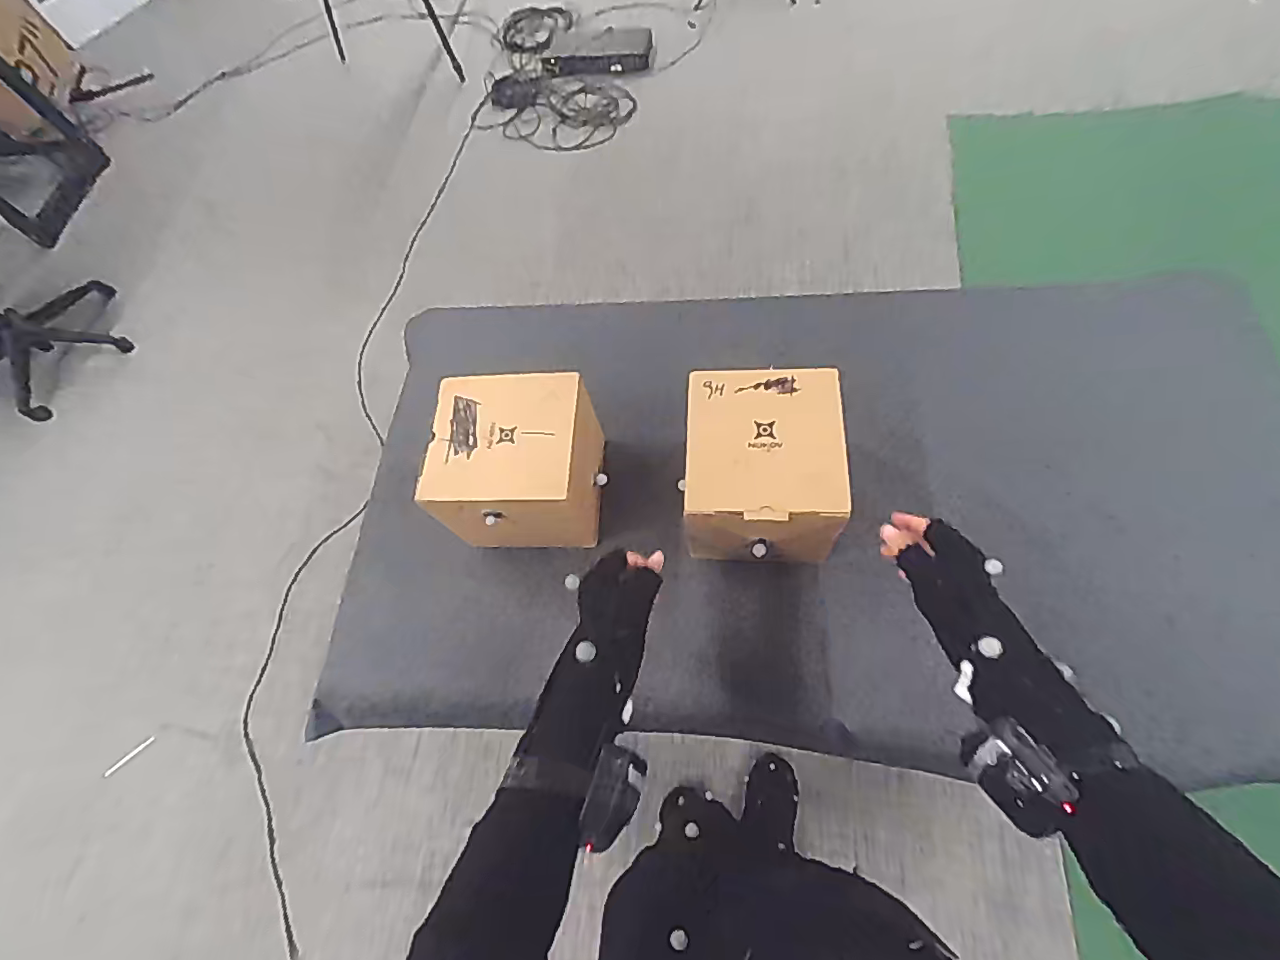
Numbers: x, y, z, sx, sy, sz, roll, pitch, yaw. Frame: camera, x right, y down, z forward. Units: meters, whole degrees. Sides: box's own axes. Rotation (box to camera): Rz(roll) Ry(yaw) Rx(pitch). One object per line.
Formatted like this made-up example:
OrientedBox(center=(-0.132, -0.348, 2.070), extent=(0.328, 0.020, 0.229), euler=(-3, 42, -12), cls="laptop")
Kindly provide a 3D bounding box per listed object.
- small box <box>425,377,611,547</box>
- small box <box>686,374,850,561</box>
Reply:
OrientedBox(center=(-0.142, -0.015, 0.697), extent=(0.179, 0.176, 0.168), euler=(0, 66, 7), cls="small box")
OrientedBox(center=(0.148, -0.007, 0.651), extent=(0.168, 0.176, 0.179), euler=(1, 66, 9), cls="small box")
